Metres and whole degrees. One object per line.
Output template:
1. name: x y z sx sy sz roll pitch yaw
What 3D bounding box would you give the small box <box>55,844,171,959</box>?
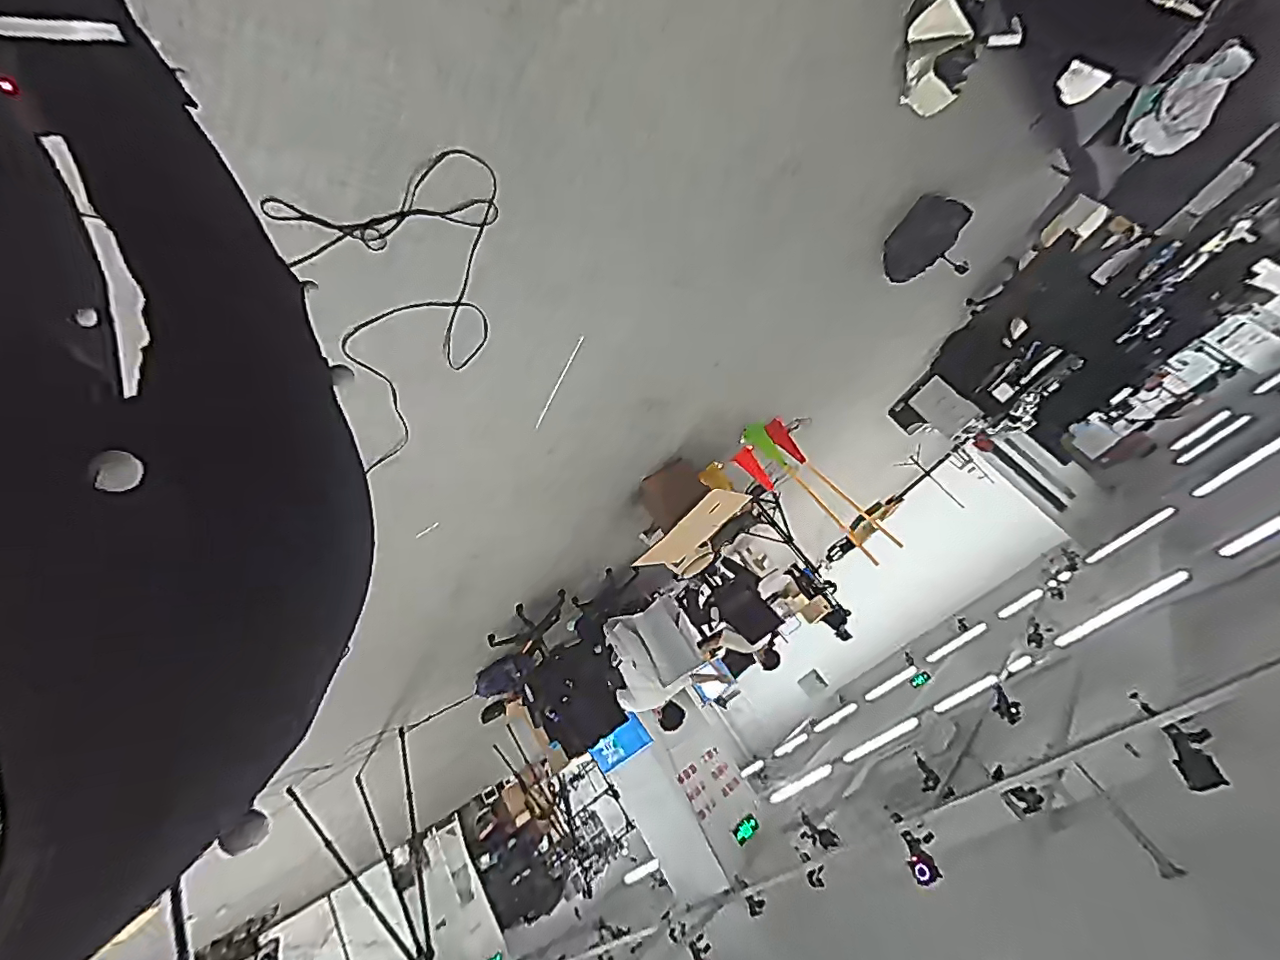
1. small box: -1.387 1.099 1.418 0.179 0.176 0.168 -43 156 16
